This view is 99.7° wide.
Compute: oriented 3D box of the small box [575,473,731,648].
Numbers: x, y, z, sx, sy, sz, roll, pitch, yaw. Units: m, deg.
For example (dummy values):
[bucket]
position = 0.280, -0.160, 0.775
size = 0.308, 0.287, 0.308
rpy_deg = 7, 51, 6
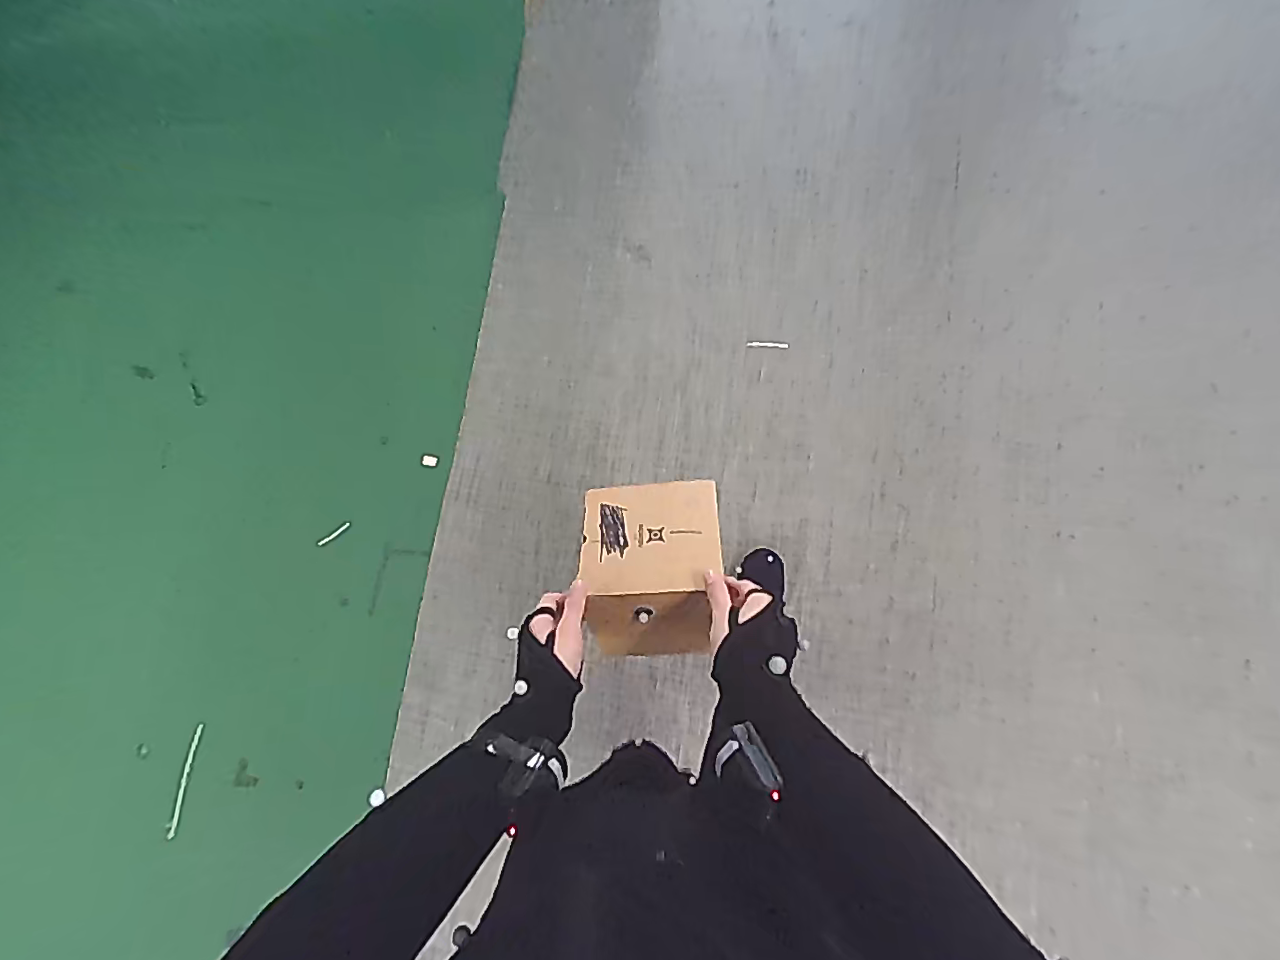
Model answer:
[small box]
position = 0.024, 0.113, 0.722
size = 0.179, 0.176, 0.168
rpy_deg = -6, 49, 6
